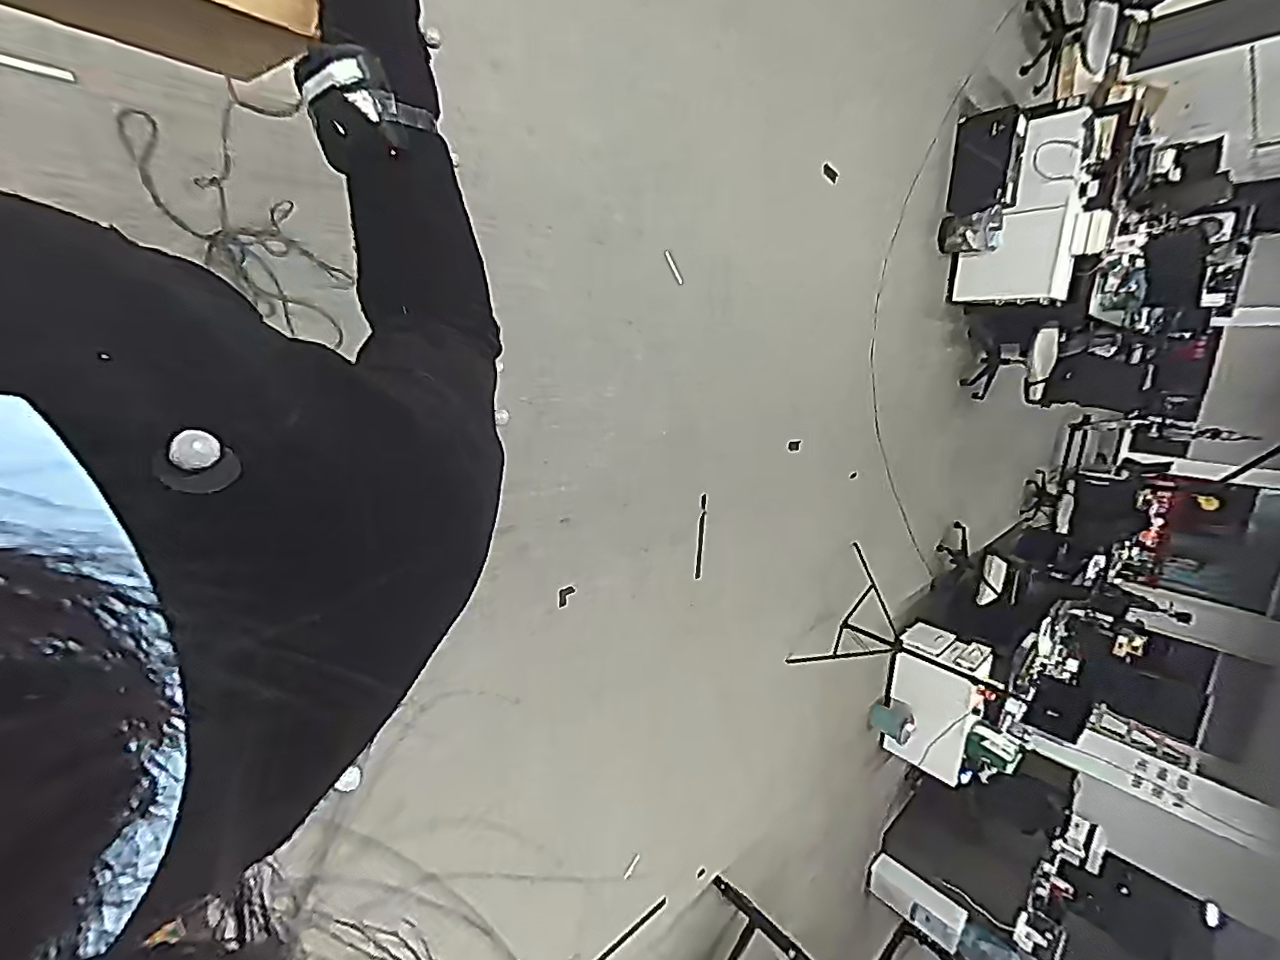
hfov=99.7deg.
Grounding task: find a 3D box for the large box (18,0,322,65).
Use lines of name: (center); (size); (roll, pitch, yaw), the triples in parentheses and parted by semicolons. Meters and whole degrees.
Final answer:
large box: (-0.446, -0.496, 0.304); (0.408, 0.320, 0.320); (-9, 119, -42)
